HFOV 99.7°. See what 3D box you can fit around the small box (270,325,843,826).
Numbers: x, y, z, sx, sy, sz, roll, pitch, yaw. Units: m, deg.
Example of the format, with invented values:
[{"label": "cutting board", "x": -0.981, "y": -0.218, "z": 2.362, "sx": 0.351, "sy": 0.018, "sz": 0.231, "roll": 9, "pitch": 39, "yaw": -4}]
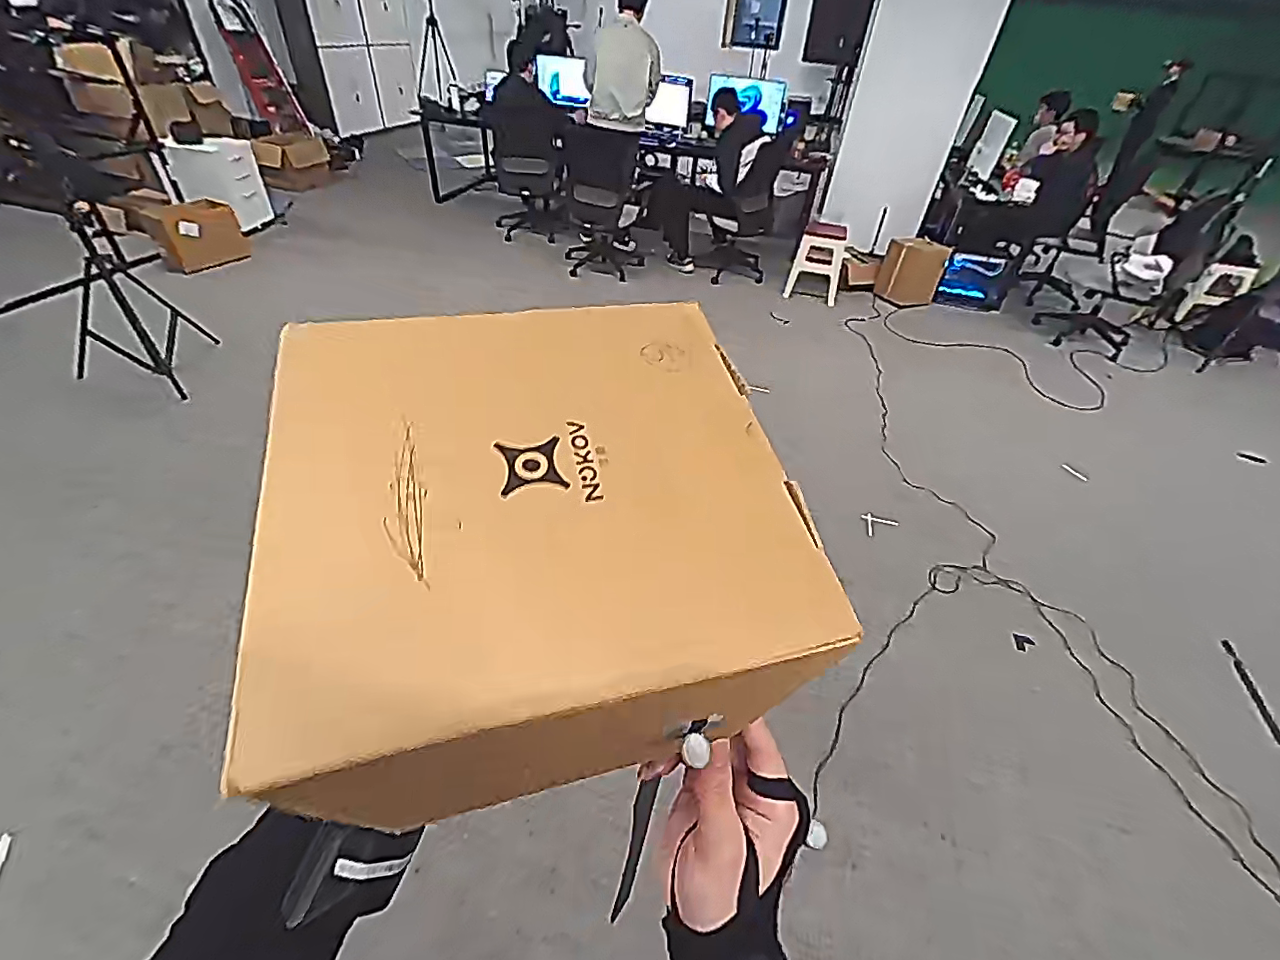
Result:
[{"label": "small box", "x": -0.044, "y": 0.049, "z": 0.266, "sx": 0.179, "sy": 0.176, "sz": 0.168, "roll": -10, "pitch": 56, "yaw": -15}]
